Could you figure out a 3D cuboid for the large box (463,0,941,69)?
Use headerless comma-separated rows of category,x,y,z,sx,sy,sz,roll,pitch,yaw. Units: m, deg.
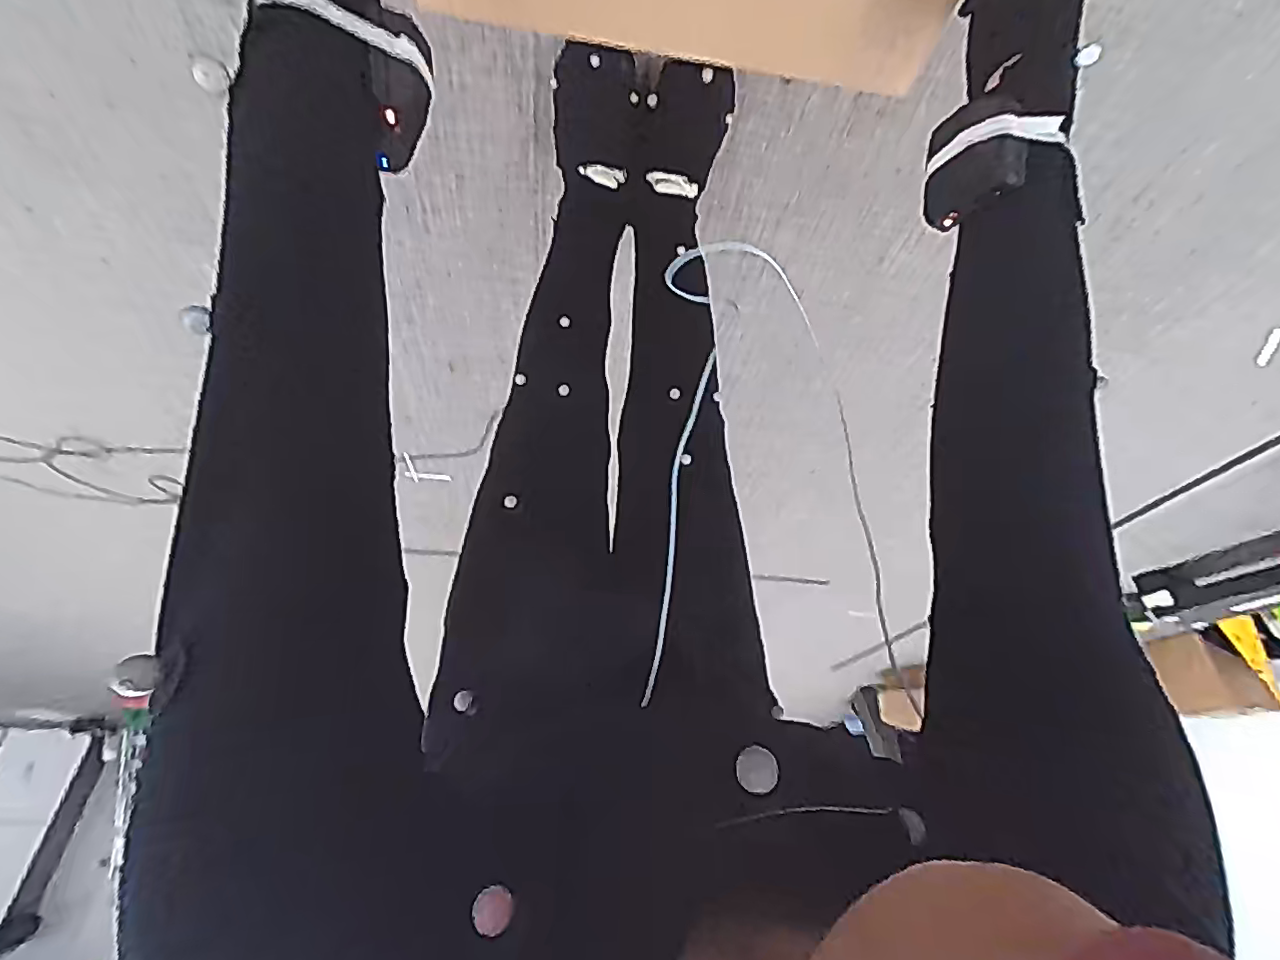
large box,0.055,-0.569,0.380,0.408,0.320,0.320,3,154,-8
